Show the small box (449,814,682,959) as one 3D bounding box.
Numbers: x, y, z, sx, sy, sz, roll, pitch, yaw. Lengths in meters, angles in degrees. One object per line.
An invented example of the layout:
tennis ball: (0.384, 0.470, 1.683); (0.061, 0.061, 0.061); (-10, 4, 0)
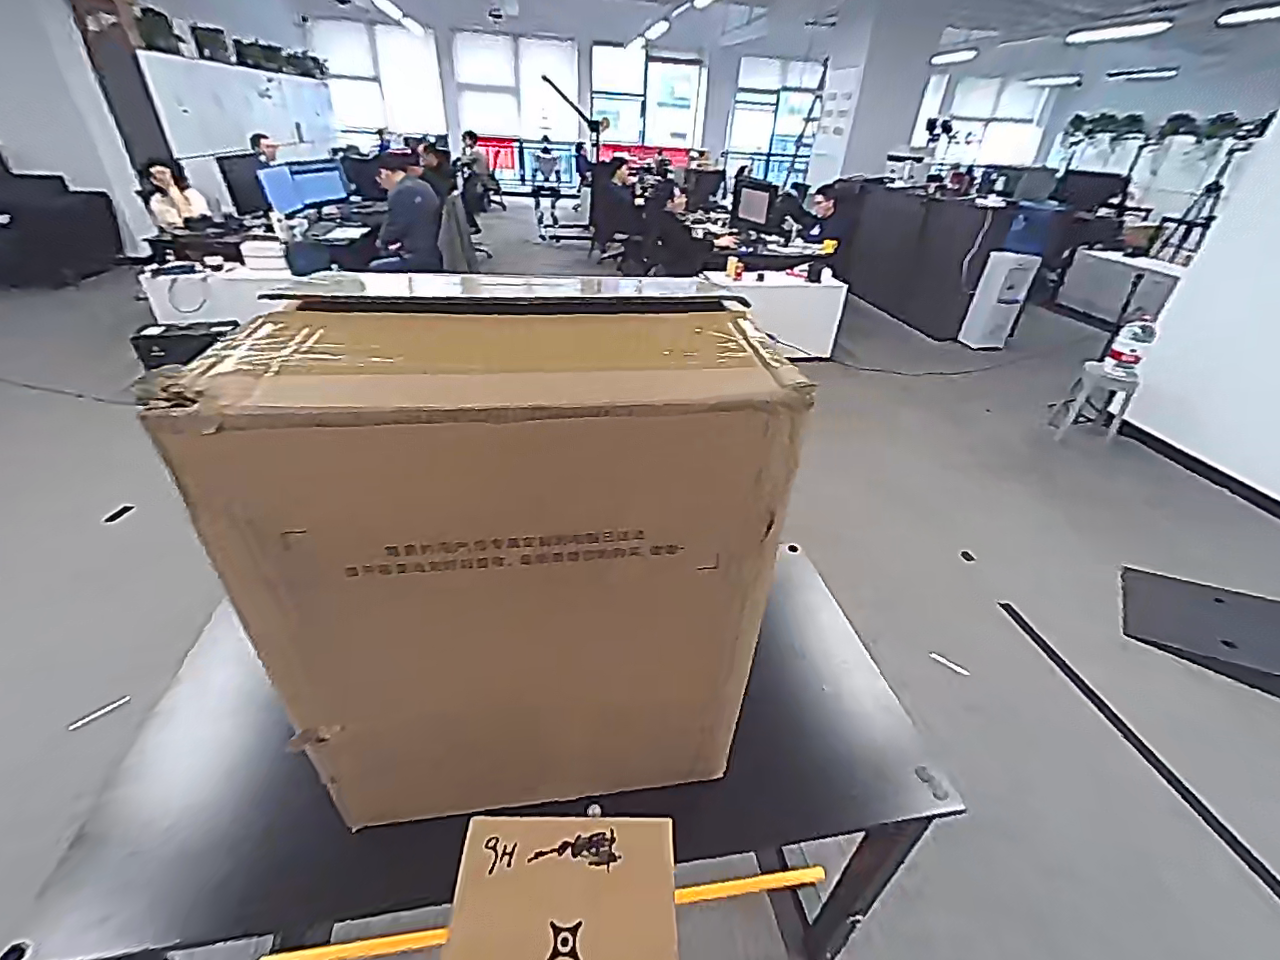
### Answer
small box: (-0.055, 0.390, 0.434); (0.168, 0.176, 0.179); (3, 45, -3)
